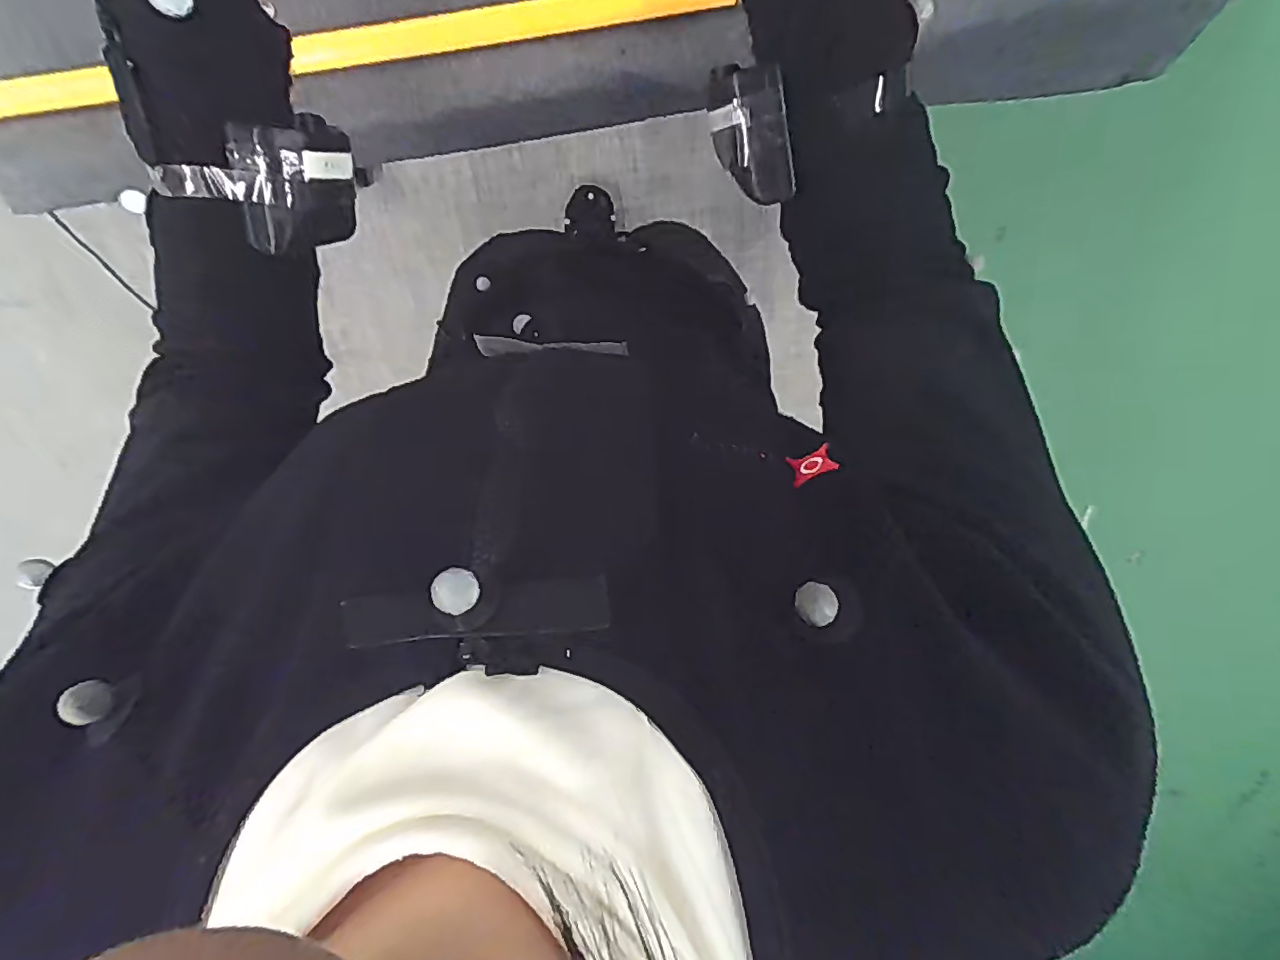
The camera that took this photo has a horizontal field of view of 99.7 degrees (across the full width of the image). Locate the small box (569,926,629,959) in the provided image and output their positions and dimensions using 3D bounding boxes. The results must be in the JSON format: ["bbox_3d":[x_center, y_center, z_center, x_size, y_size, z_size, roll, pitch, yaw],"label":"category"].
[{"bbox_3d":[-0.132,1.608,1.770,0.168,0.176,0.179,-14,116,4],"label":"small box"}]
